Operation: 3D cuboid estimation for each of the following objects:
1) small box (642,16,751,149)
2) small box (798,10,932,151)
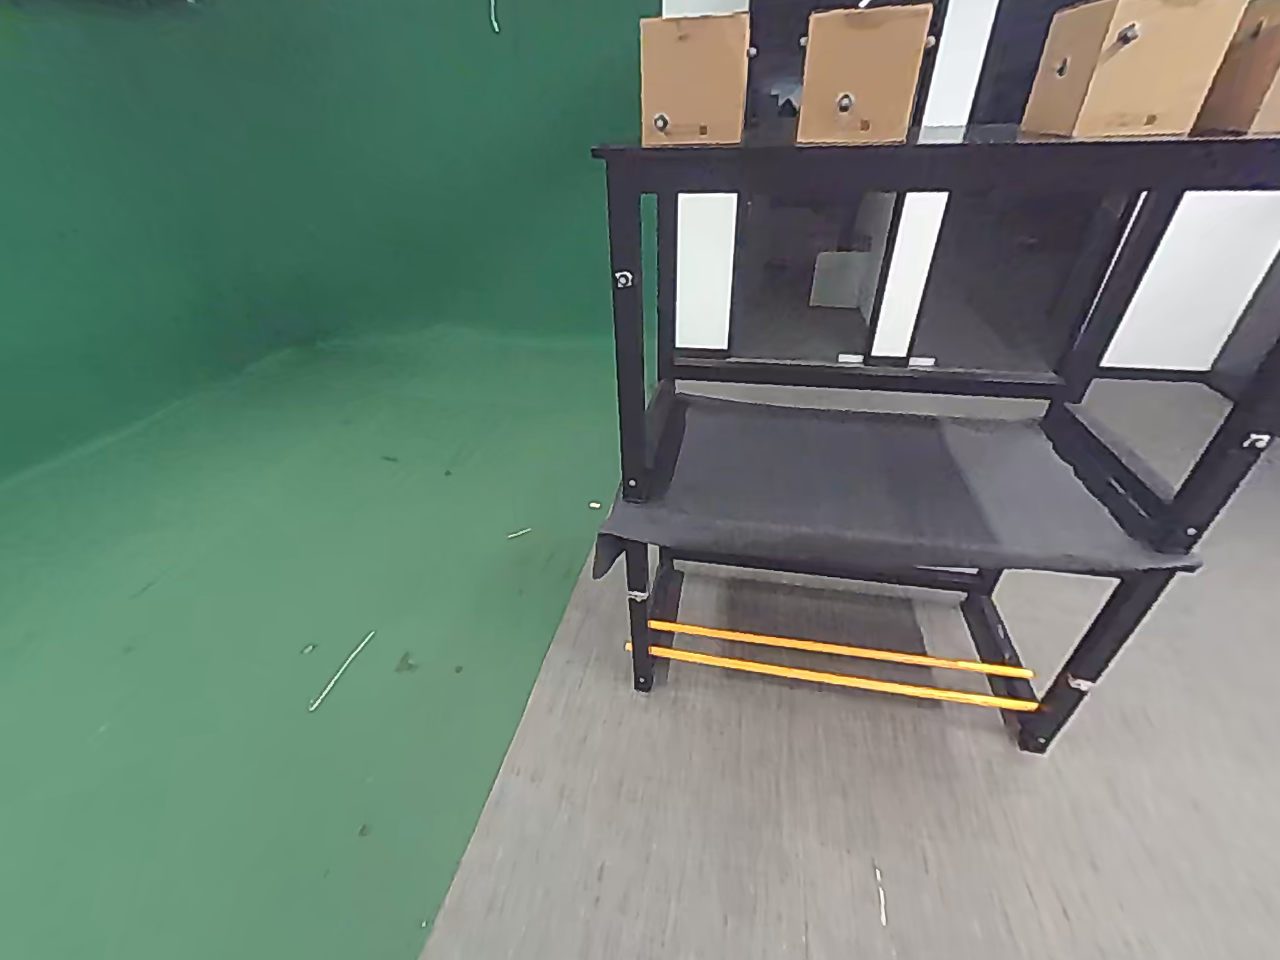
[{"bbox_3d":[0.101,-0.672,0.929,0.168,0.176,0.179,5,34,9],"label":"small box"},{"bbox_3d":[0.361,-0.646,0.887,0.168,0.176,0.179,10,36,16],"label":"small box"}]
